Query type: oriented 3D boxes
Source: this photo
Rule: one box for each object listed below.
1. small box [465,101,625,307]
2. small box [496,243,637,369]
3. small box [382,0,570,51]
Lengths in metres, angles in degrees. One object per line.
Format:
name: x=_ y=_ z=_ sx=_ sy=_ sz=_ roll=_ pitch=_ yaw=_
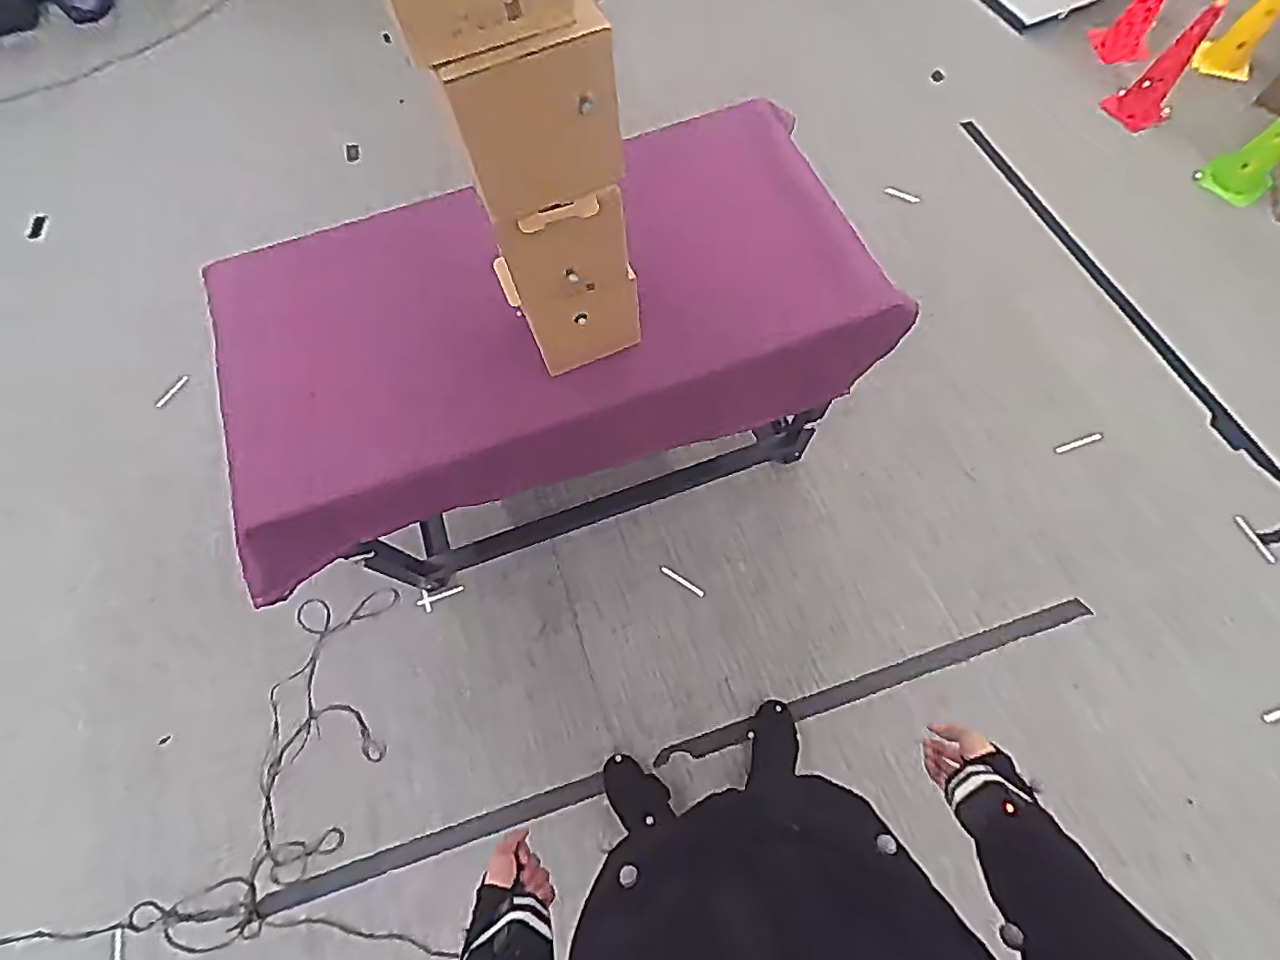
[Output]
small box: x=-0.126 y=-0.380 z=0.763 sx=0.168 sy=0.176 sz=0.179 roll=-18 pitch=69 yaw=-3
small box: x=-0.115 y=-0.317 z=0.914 sx=0.179 sy=0.176 sz=0.168 roll=-23 pitch=69 yaw=-6
small box: x=-0.173 y=-0.513 z=0.465 sx=0.168 sy=0.176 sz=0.179 roll=-24 pitch=68 yaw=-7
